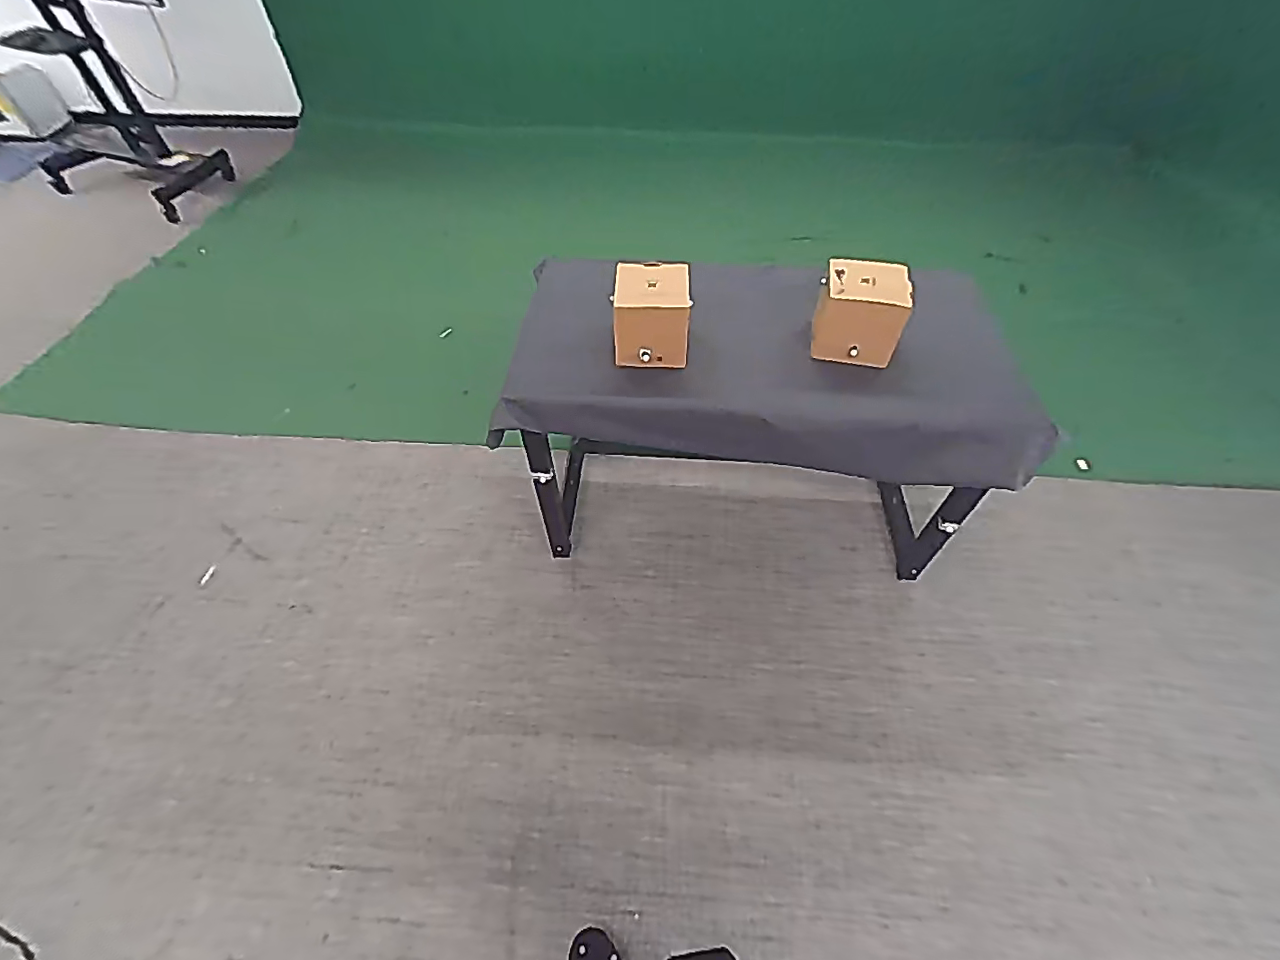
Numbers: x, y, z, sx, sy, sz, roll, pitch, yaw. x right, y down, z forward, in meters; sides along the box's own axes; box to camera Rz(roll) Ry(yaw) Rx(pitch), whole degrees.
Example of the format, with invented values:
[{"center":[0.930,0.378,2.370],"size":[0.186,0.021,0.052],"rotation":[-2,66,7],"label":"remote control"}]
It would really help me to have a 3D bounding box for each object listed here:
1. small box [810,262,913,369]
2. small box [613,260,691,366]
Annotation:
[{"center":[0.512,-0.381,1.268],"size":[0.179,0.176,0.168],"rotation":[10,52,7],"label":"small box"},{"center":[0.029,-0.386,1.250],"size":[0.168,0.176,0.179],"rotation":[2,52,4],"label":"small box"}]
